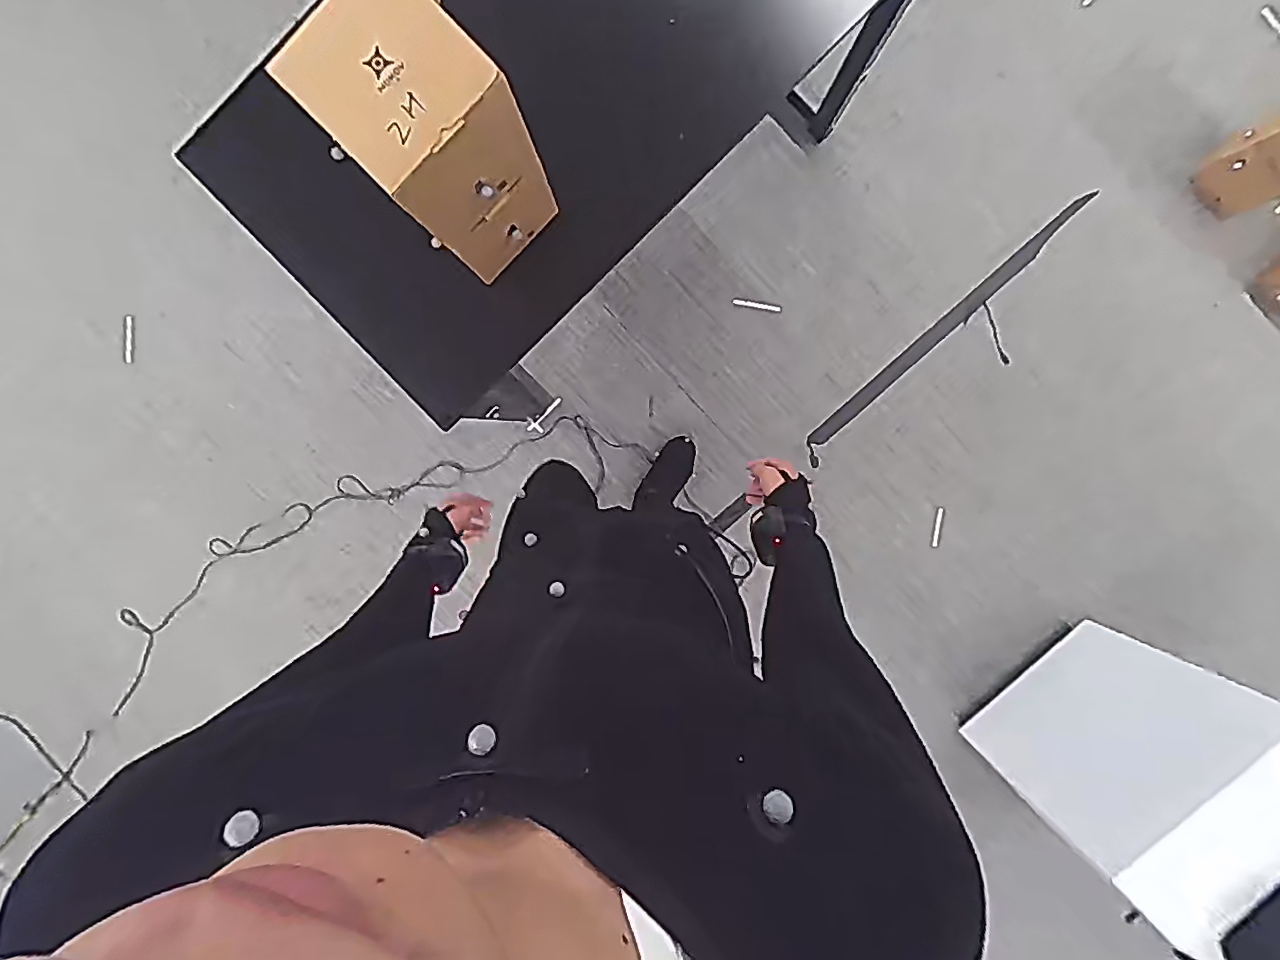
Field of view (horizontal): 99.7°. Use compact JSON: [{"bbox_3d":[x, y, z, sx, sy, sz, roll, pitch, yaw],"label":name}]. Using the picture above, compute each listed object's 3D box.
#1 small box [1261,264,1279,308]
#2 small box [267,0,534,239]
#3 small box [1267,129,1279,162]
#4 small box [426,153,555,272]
[{"bbox_3d":[1.878,-0.558,1.459,0.179,0.176,0.168,-44,92,5],"label":"small box"},{"bbox_3d":[-0.246,-0.409,0.603,0.168,0.176,0.179,-44,93,5],"label":"small box"},{"bbox_3d":[1.665,-0.824,1.268,0.168,0.176,0.179,-43,95,4],"label":"small box"},{"bbox_3d":[-0.243,-0.422,0.767,0.179,0.176,0.168,45,94,-4],"label":"small box"}]
